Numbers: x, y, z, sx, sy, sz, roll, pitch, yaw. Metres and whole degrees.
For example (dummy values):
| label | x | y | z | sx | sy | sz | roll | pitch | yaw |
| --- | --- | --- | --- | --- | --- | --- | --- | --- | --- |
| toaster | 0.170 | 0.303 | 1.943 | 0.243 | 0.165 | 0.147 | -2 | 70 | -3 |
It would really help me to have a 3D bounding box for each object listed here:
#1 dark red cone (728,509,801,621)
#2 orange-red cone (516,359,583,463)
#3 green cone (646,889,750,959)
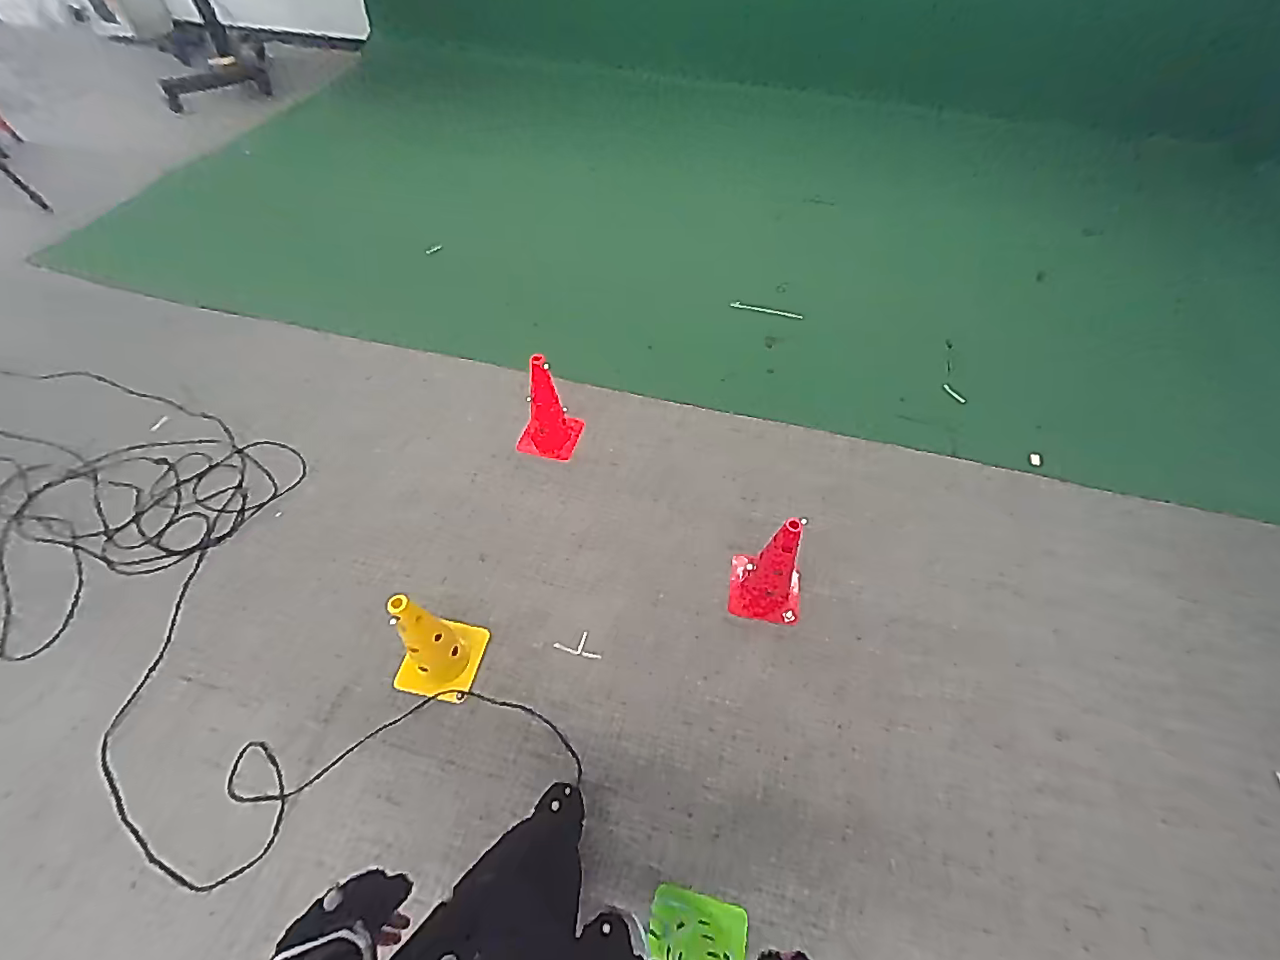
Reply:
| label | x | y | z | sx | sy | sz | roll | pitch | yaw |
| --- | --- | --- | --- | --- | --- | --- | --- | --- | --- |
| dark red cone | 0.361 | 0.204 | 1.424 | 0.202 | 0.394 | 0.201 | 8 | 52 | 5 |
| orange-red cone | -0.320 | -0.250 | 1.783 | 0.198 | 0.360 | 0.199 | 12 | 55 | 9 |
| green cone | 0.113 | 0.864 | 0.955 | 0.202 | 0.368 | 0.200 | 10 | 53 | 8 |
